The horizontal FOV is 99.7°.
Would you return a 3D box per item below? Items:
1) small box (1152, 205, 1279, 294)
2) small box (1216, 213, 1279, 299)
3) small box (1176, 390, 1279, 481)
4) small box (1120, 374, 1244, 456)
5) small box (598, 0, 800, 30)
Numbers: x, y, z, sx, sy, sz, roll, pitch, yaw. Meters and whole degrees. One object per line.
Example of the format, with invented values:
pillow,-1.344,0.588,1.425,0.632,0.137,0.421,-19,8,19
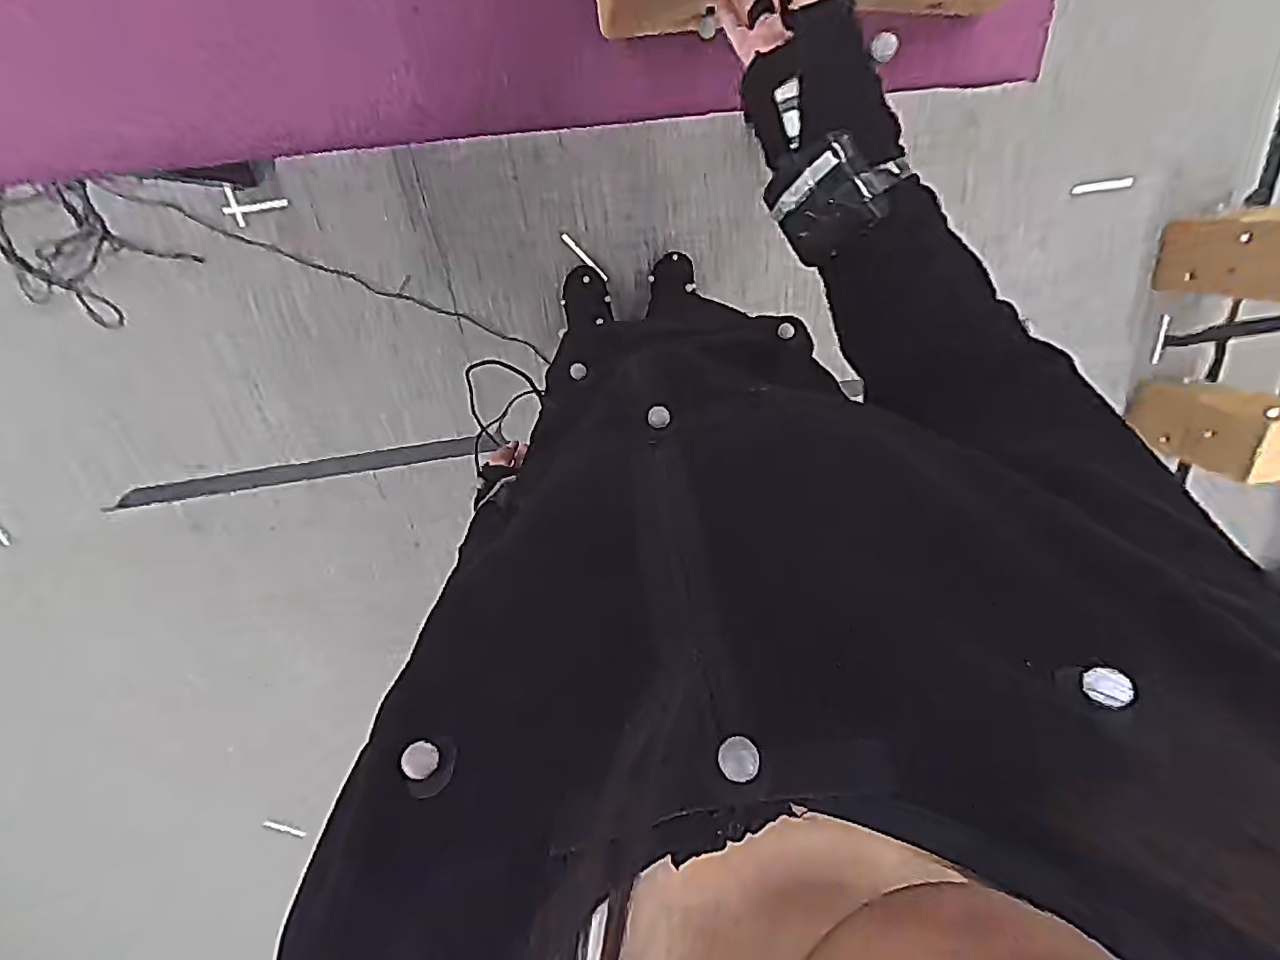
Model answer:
small box,1.427,-0.570,1.332,0.168,0.176,0.179,-13,115,-2
small box,1.446,-0.496,1.186,0.179,0.176,0.168,-10,116,-4
small box,1.546,-0.119,1.375,0.179,0.176,0.168,-10,116,-2
small box,1.515,-0.186,1.520,0.168,0.176,0.179,-6,116,-5
small box,0.057,-0.453,0.385,0.179,0.176,0.168,-8,113,-6
